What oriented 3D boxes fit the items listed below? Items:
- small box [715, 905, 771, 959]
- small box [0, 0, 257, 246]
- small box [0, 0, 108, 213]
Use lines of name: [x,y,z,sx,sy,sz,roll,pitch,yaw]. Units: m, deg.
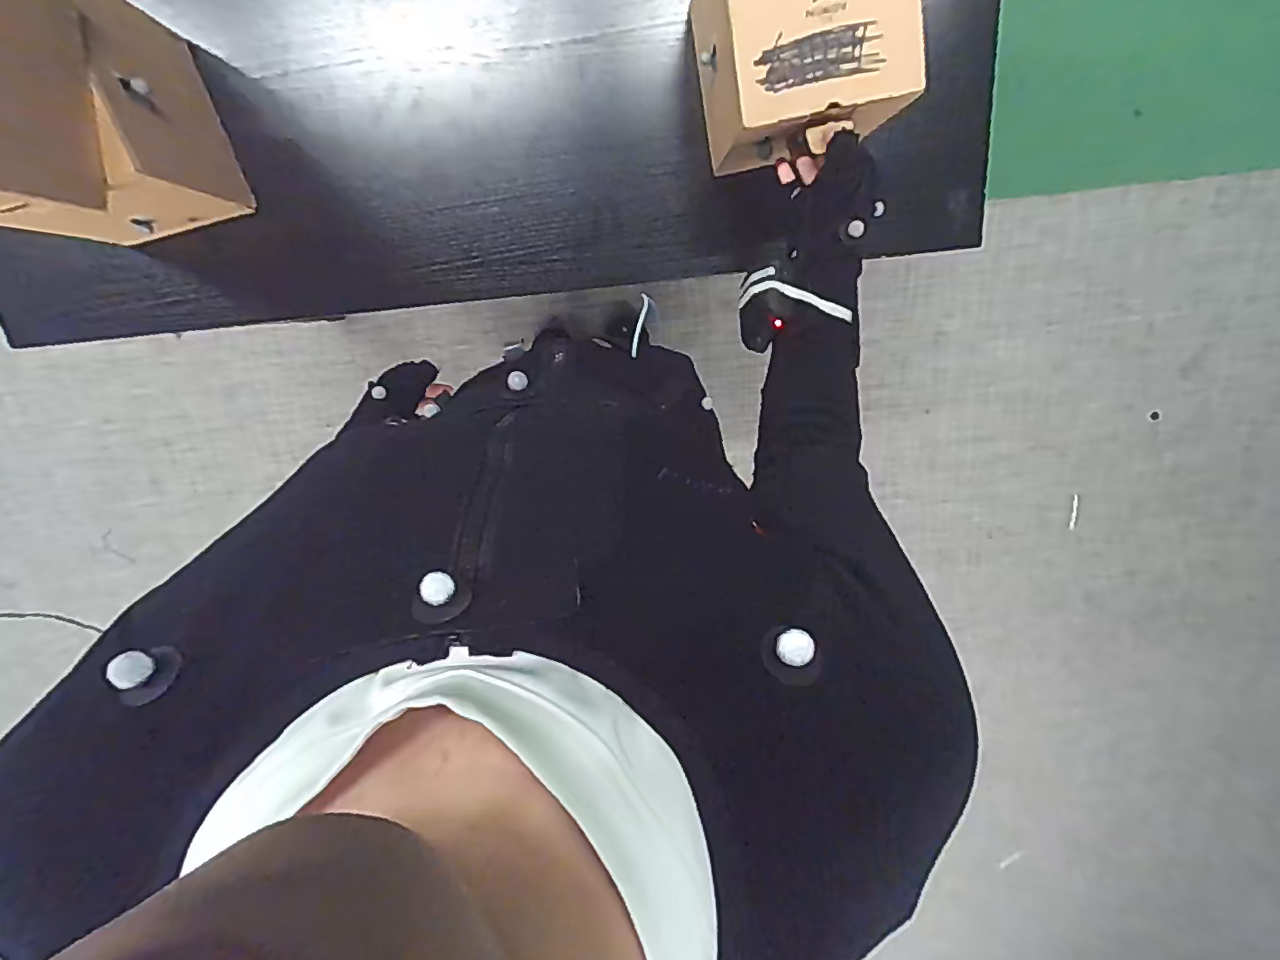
small box: [0.377,1.700,1.968,0.179,0.176,0.168,-12,108,0]
small box: [-0.538,-0.350,0.535,0.168,0.176,0.179,-15,108,1]
small box: [-0.534,-0.301,0.378,0.168,0.176,0.179,6,107,-5]
